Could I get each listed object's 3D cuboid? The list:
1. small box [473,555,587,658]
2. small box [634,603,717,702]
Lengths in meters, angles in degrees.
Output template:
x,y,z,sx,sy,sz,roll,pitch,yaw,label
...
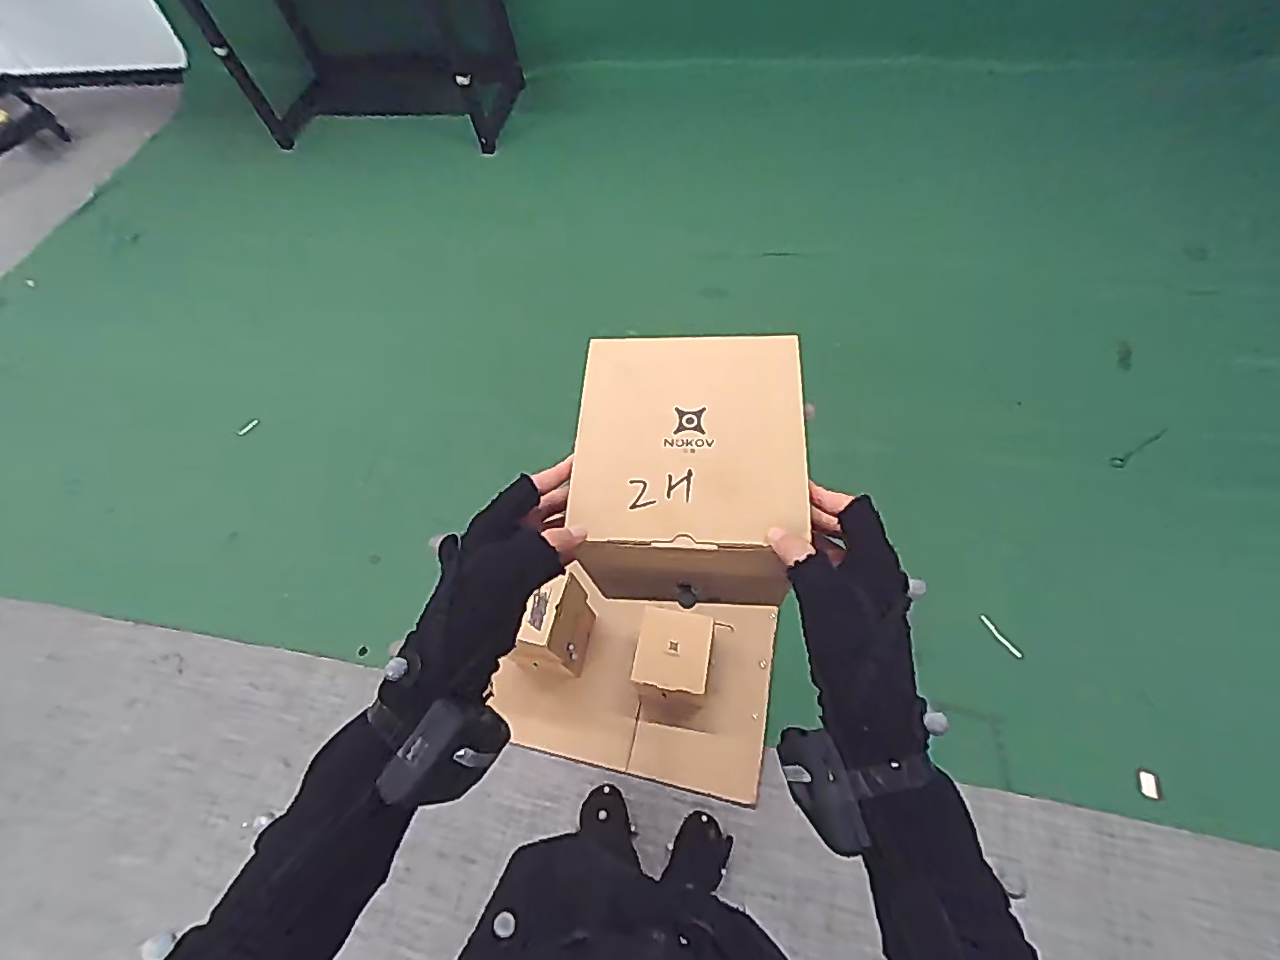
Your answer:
x,y,z,sx,sy,sz,roll,pitch,yaw,label
-0.232,0.285,1.200,0.179,0.176,0.168,9,63,15,small box
0.089,0.412,1.282,0.168,0.176,0.179,6,62,11,small box
